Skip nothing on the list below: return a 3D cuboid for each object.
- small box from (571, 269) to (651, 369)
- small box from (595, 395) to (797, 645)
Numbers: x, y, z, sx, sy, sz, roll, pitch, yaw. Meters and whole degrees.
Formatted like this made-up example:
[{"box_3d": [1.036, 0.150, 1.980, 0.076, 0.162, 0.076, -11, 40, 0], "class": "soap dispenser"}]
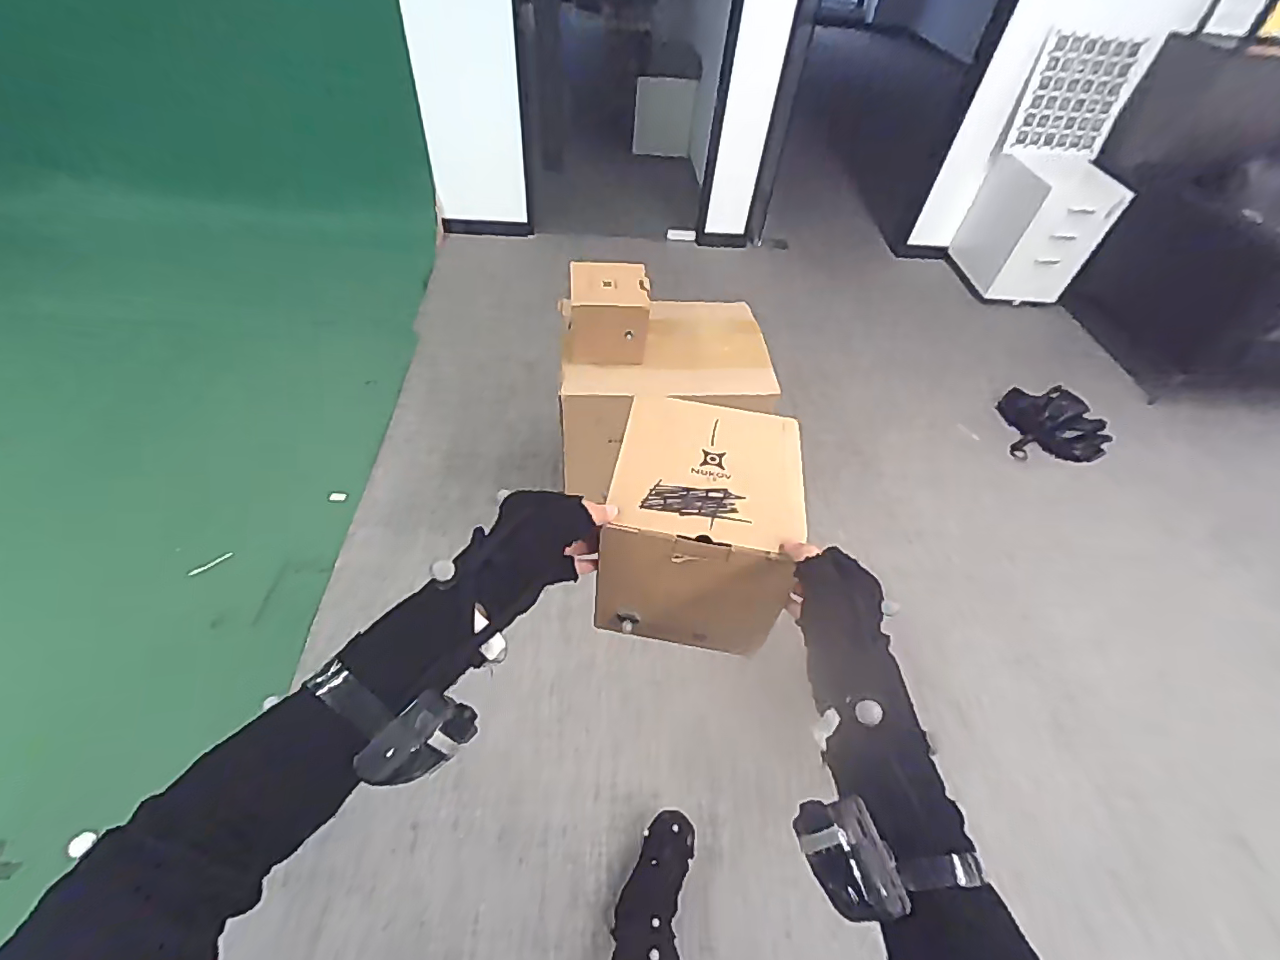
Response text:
[{"box_3d": [-0.074, -0.381, 1.292, 0.179, 0.176, 0.168, -3, 53, -6], "class": "small box"}, {"box_3d": [0.053, 0.042, 0.545, 0.168, 0.176, 0.179, 10, 45, 3], "class": "small box"}]
